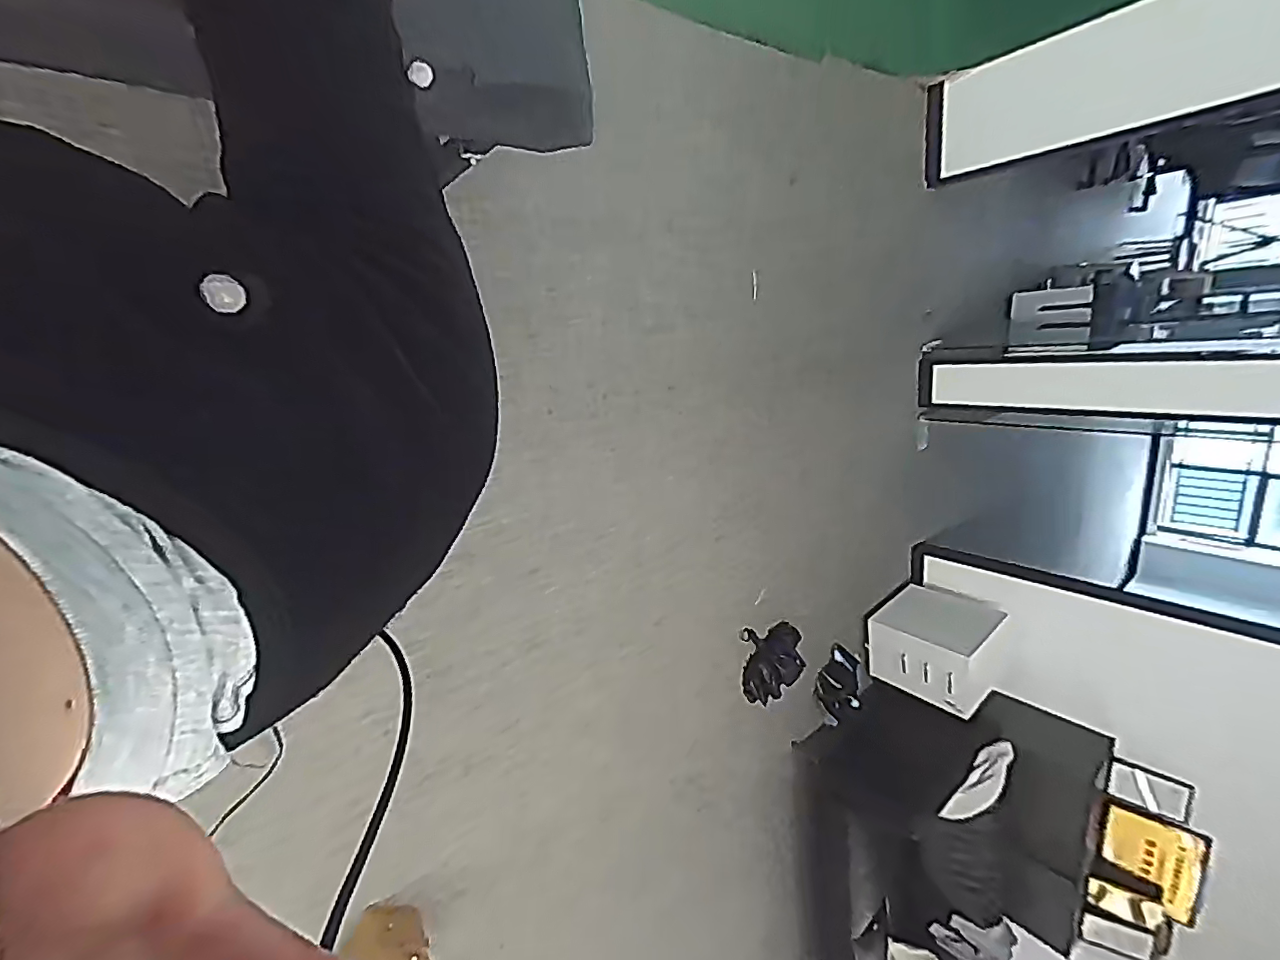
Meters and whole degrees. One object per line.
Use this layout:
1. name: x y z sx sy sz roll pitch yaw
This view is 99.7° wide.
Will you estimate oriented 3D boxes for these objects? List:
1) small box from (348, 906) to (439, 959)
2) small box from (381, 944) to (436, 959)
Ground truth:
1. small box: -0.737 1.409 1.604 0.168 0.176 0.179 35 77 -37
2. small box: -0.646 1.422 1.467 0.168 0.176 0.179 44 70 -35
